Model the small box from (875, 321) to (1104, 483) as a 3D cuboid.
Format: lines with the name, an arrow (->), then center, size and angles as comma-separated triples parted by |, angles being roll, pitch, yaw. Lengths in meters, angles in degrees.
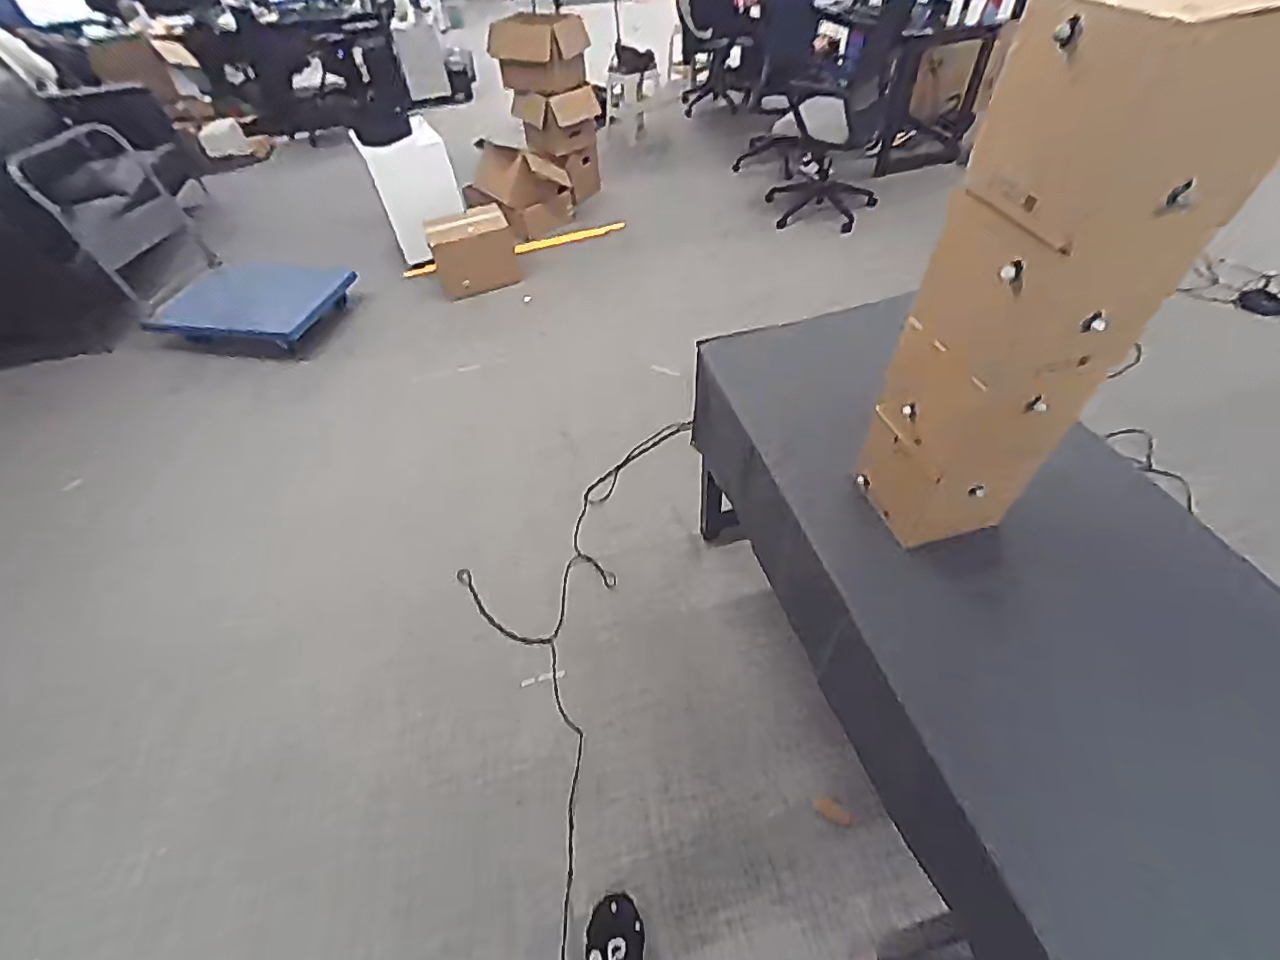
small box -> 0.463, -0.121, 0.752 | 0.179, 0.176, 0.168 | -14, 49, -7

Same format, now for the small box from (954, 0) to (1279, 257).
small box -> 0.439, -0.331, 0.501 | 0.179, 0.176, 0.168 | -12, 49, -5

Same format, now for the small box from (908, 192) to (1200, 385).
small box -> 0.449, -0.227, 0.627 | 0.168, 0.176, 0.179 | -13, 49, -6

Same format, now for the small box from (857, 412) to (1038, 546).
small box -> 0.475, -0.015, 0.874 | 0.179, 0.176, 0.168 | -13, 49, -8
